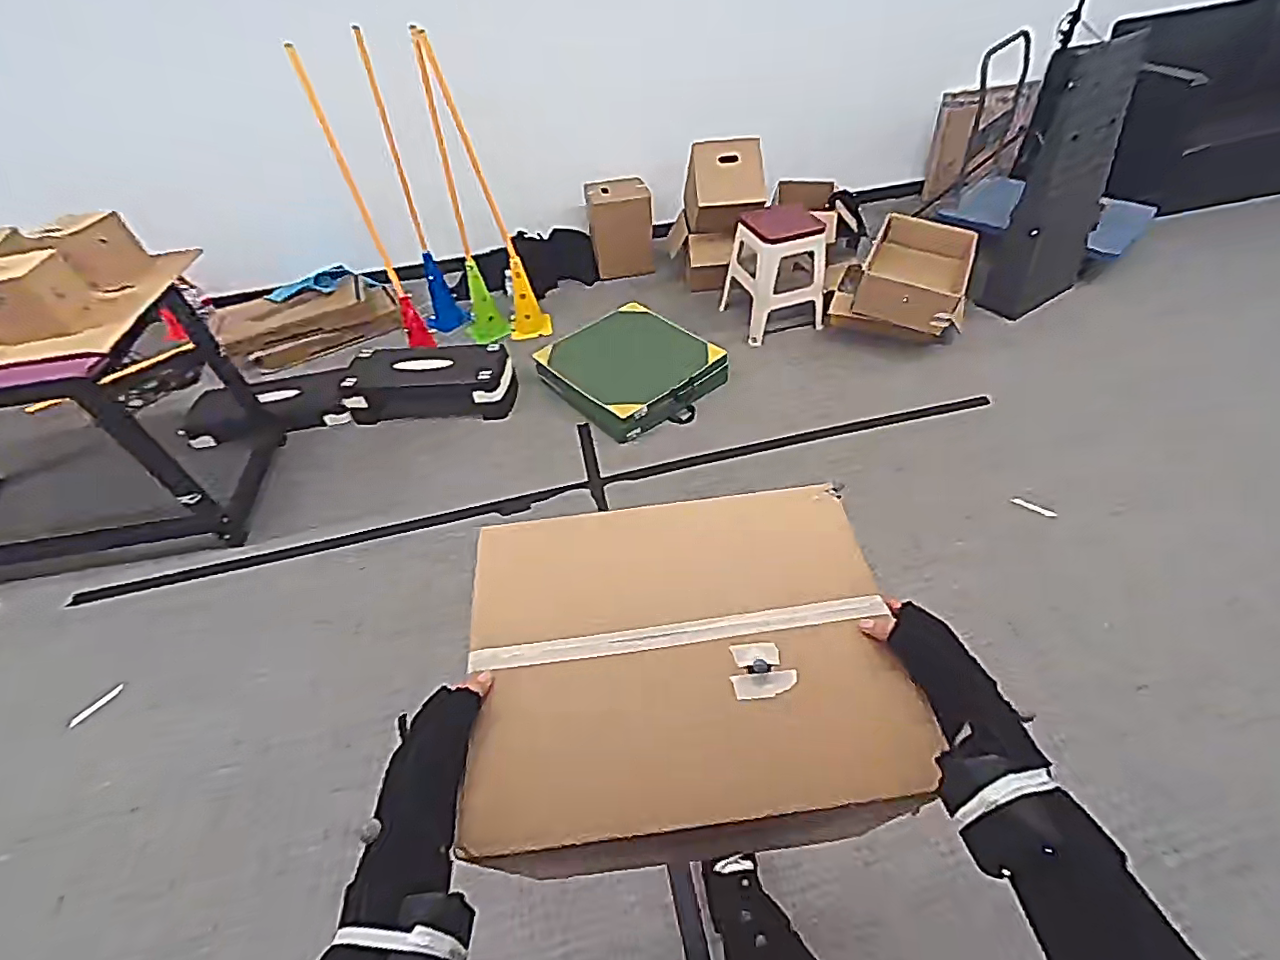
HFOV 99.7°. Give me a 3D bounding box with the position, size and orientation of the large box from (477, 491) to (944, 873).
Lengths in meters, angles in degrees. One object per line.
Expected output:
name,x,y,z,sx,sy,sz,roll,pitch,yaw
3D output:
large box,0.050,0.249,0.652,0.408,0.320,0.320,-7,52,-2
